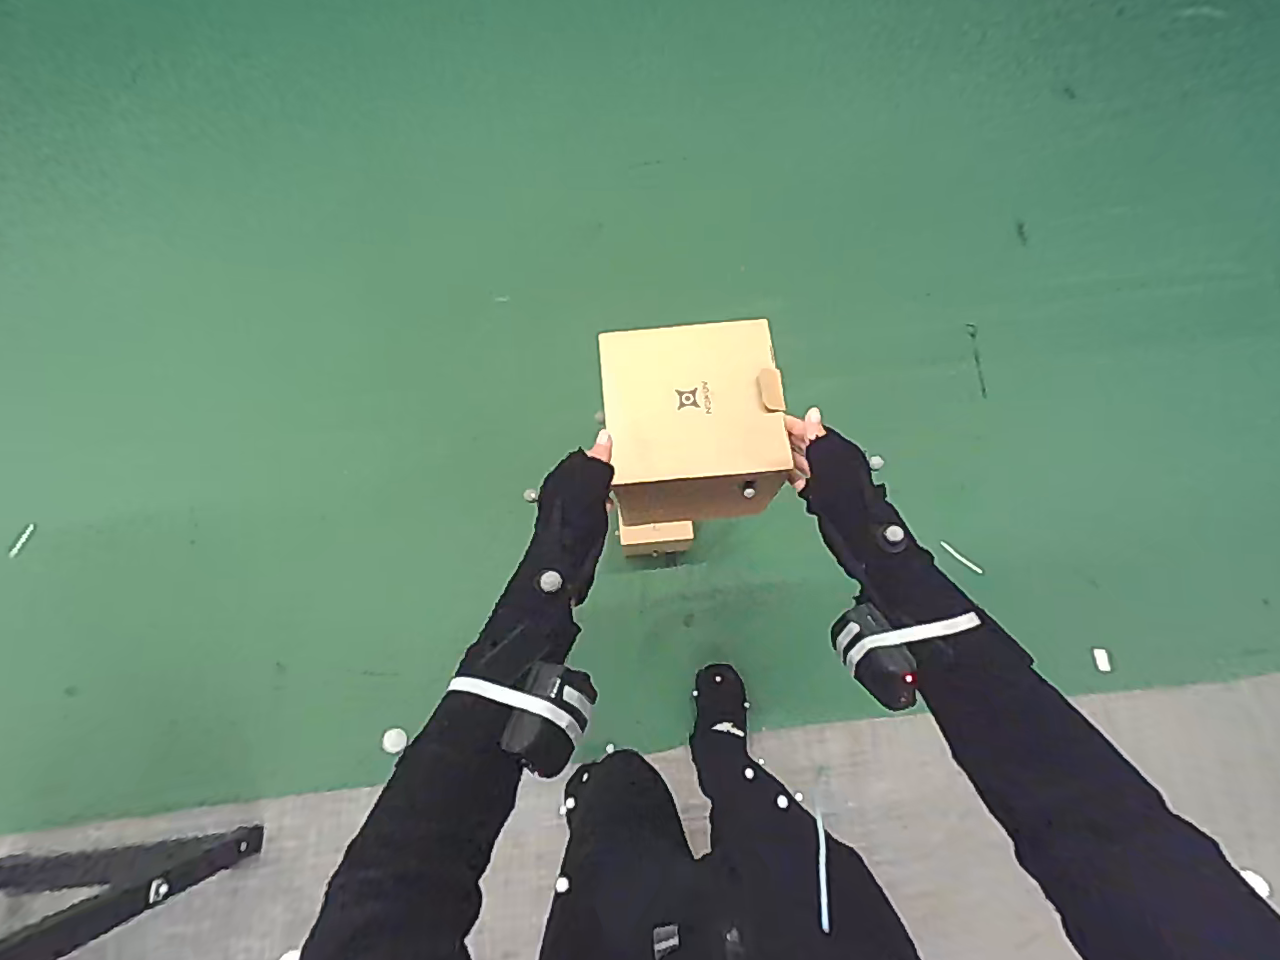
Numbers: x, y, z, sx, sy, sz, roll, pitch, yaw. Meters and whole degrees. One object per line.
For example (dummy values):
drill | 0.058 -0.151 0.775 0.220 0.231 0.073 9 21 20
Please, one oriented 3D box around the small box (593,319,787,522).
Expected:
small box | 0.048 -0.055 0.607 0.179 0.176 0.168 -6 72 0
